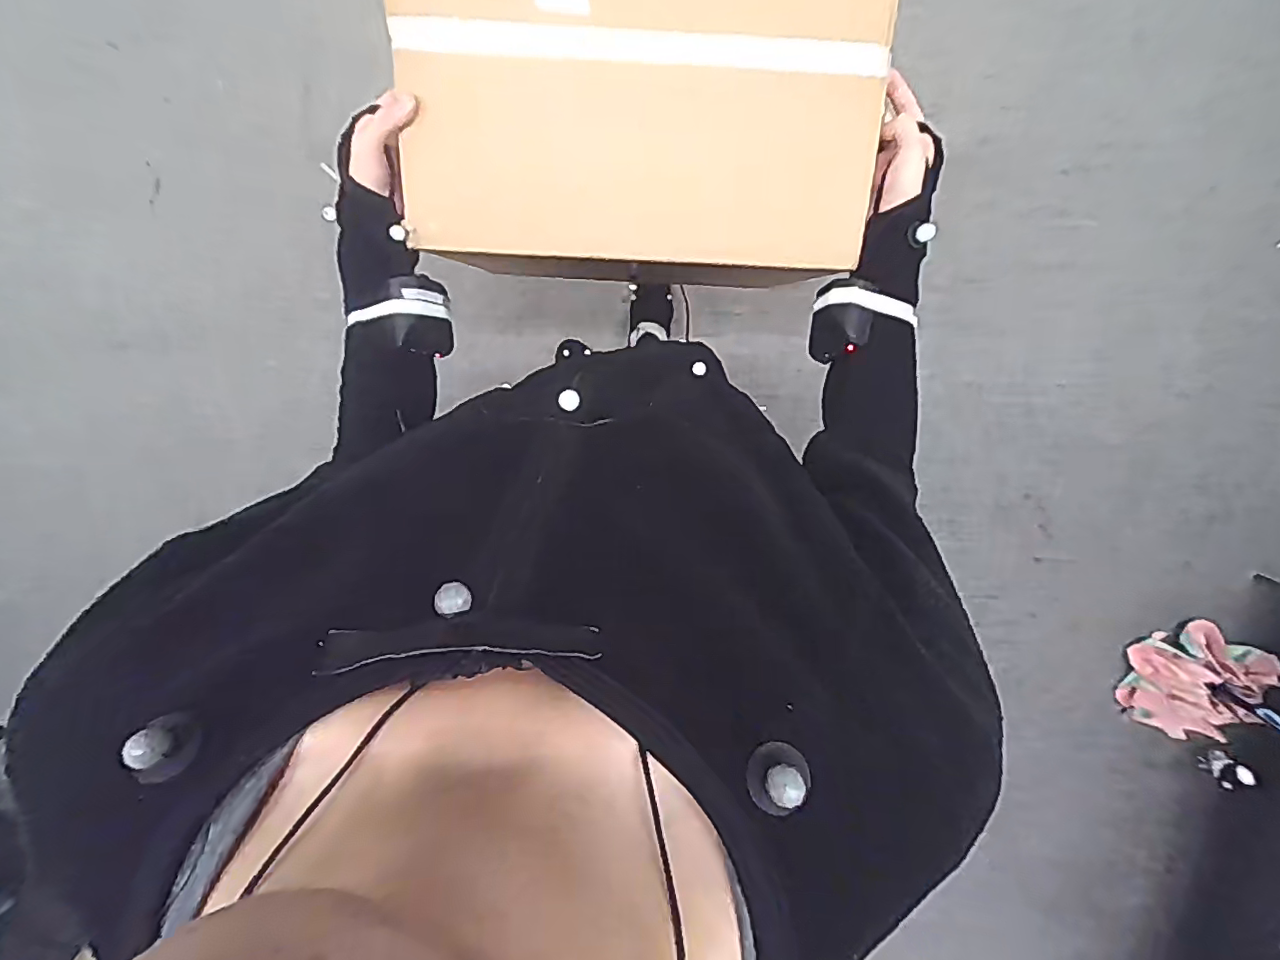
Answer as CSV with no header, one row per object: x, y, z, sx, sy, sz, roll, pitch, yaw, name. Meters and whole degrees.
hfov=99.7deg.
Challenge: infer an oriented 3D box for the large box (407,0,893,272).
0.007,-0.403,0.591,0.408,0.320,0.320,2,107,-2,large box
